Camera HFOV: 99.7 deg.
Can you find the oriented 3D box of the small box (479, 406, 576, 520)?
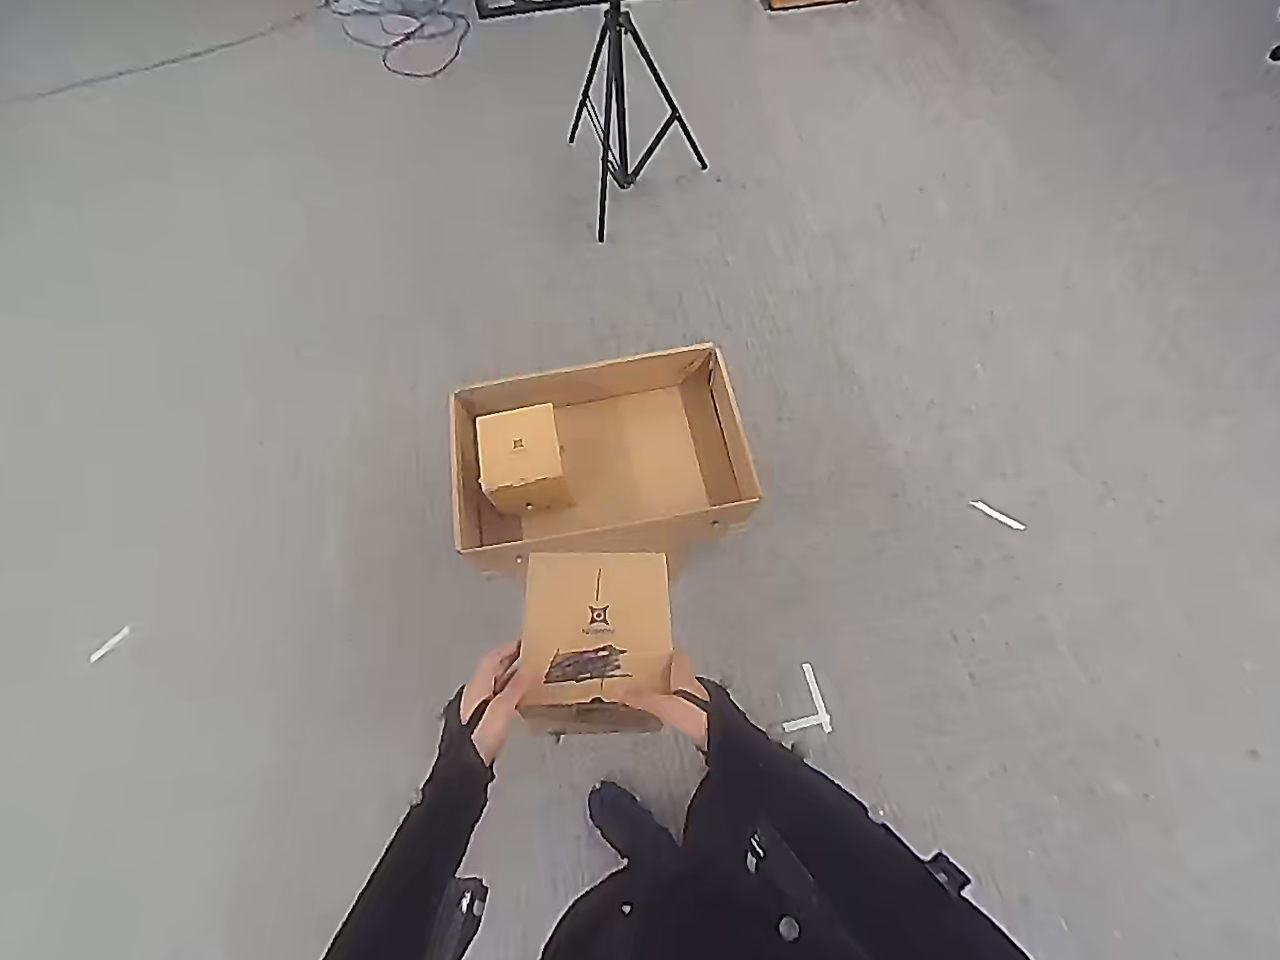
[{"bbox_3d":[-0.241,-0.033,1.178,0.168,0.176,0.179,-12,67,-2],"label":"small box"}]

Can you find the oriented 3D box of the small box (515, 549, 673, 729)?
[{"bbox_3d":[-0.052,0.200,0.663,0.168,0.176,0.179,1,55,-5],"label":"small box"}]
